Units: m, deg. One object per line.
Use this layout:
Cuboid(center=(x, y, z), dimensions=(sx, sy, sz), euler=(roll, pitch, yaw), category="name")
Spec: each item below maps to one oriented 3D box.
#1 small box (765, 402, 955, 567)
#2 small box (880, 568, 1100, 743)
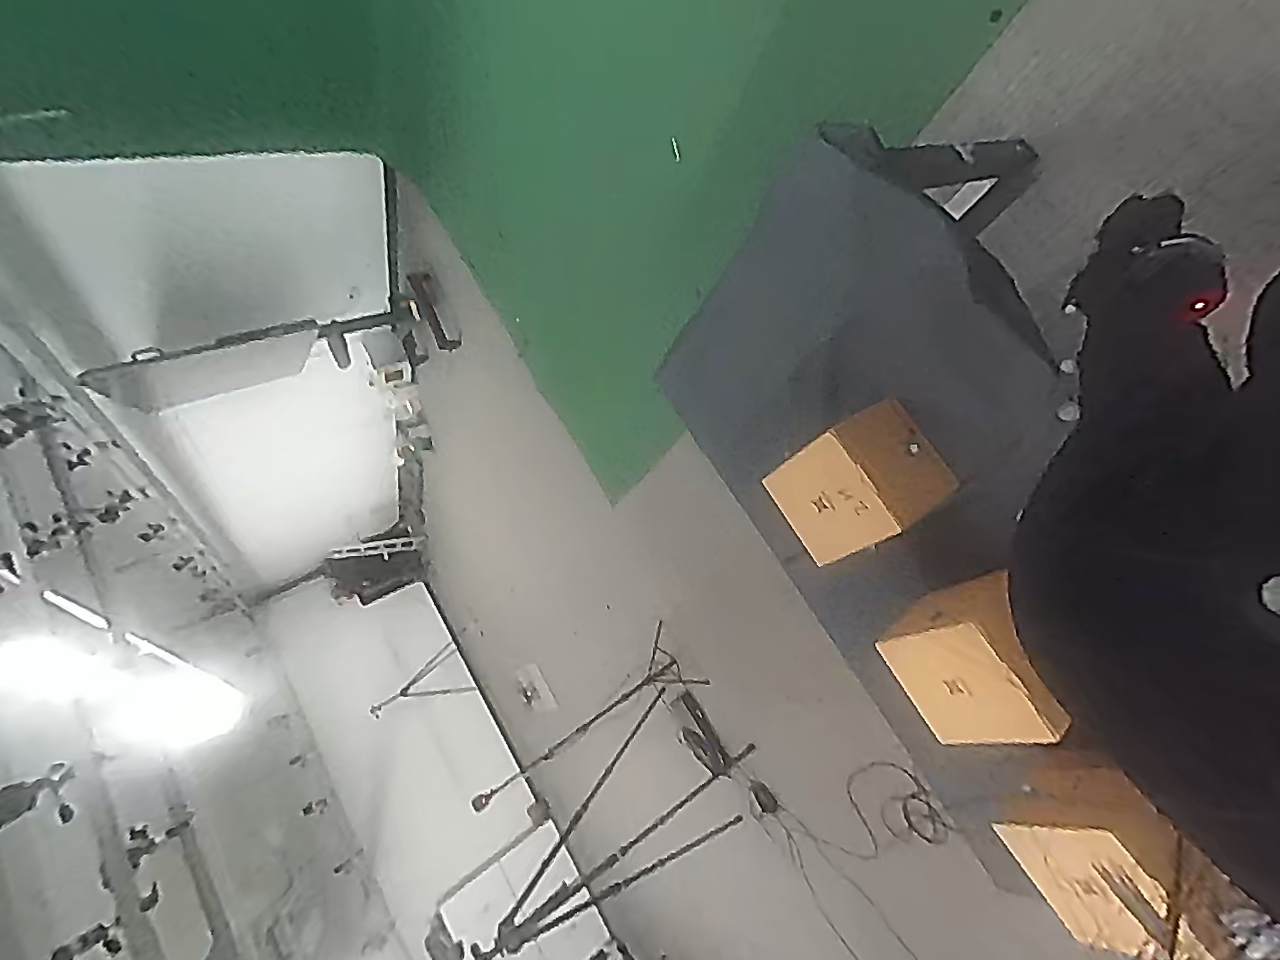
Cuboid(center=(0.337, 0.007, 0.836), dimensions=(0.168, 0.176, 0.179), euler=(57, 147, 11), category="small box")
Cuboid(center=(0.497, 0.251, 0.776), dimensions=(0.168, 0.176, 0.179), euler=(58, 147, 12), category="small box")
